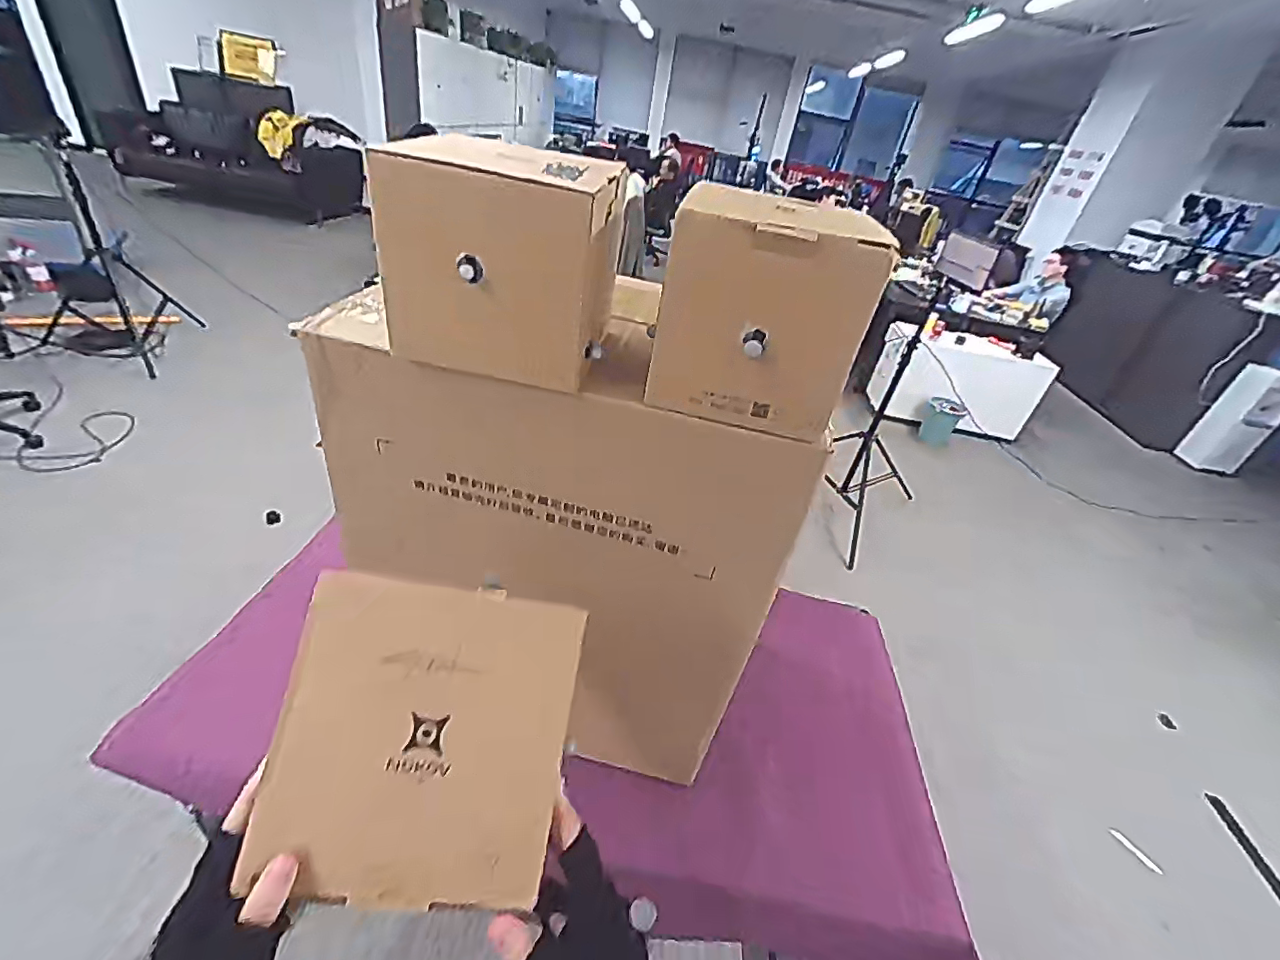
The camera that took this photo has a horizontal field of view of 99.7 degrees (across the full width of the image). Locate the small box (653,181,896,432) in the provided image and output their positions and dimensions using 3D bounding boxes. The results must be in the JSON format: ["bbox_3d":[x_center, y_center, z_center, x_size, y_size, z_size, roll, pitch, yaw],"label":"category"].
[{"bbox_3d":[0.113,-0.166,0.511,0.168,0.176,0.179,14,36,4],"label":"small box"}]

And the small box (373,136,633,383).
[{"bbox_3d":[-0.114,-0.206,0.508,0.179,0.176,0.168,11,35,2],"label":"small box"}]
